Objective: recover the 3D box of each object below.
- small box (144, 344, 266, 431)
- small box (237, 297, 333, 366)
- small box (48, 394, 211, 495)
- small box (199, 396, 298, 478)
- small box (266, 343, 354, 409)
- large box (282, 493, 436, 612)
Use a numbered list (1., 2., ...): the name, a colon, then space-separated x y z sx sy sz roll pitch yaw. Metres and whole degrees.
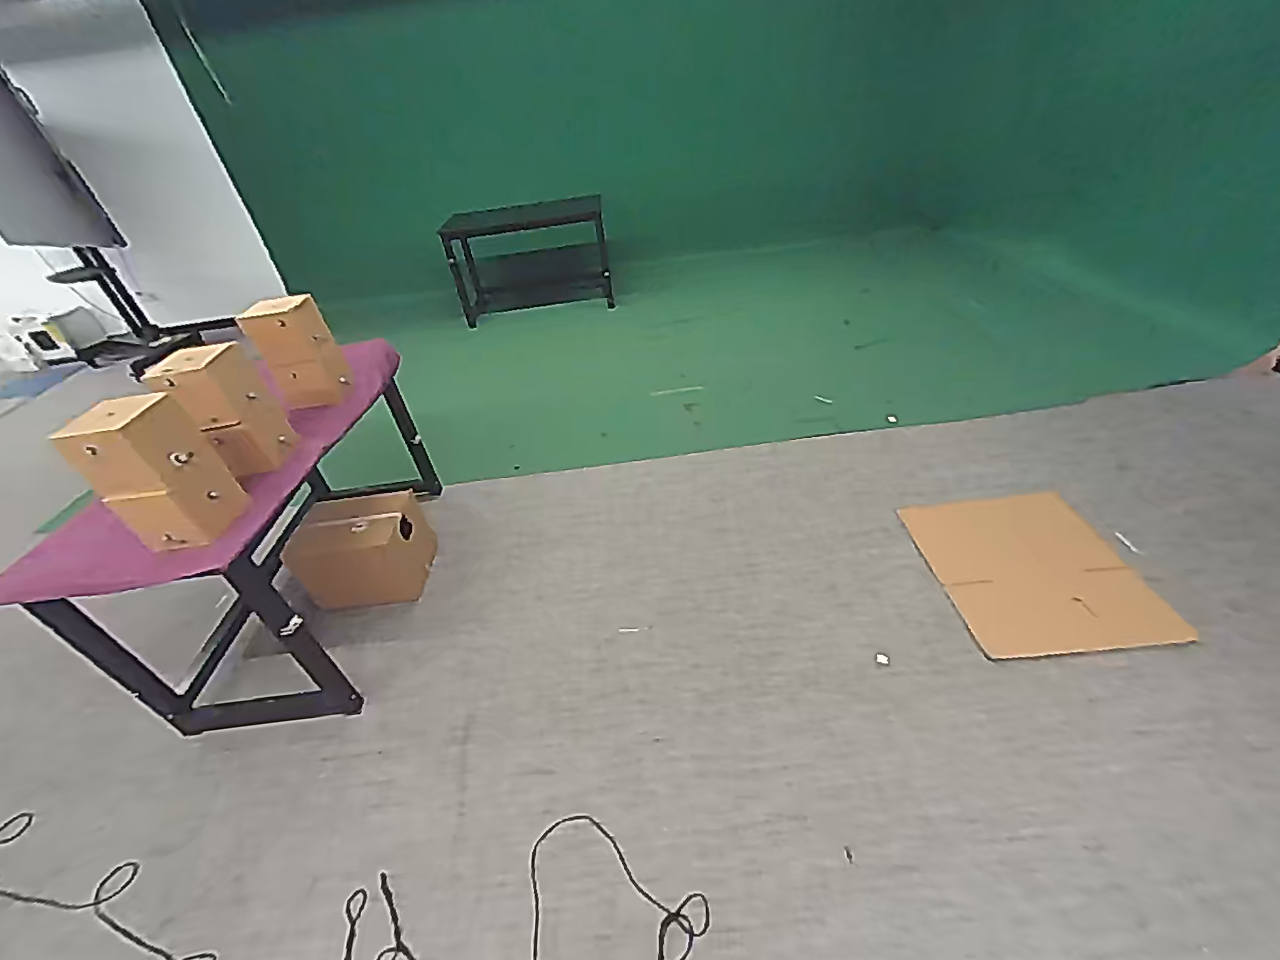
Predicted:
1. small box: -1.172 -0.251 1.478 0.168 0.176 0.179 -10 36 1
2. small box: -1.169 -0.490 1.795 0.179 0.176 0.168 -7 37 1
3. small box: -1.164 -0.079 1.251 0.179 0.176 0.168 -6 38 4
4. small box: -1.153 -0.122 1.578 0.179 0.176 0.168 -9 37 1
5. small box: -1.145 -0.362 1.892 0.179 0.176 0.168 -7 37 1
6. large box: -1.079 0.287 2.129 0.408 0.320 0.320 -7 38 1
